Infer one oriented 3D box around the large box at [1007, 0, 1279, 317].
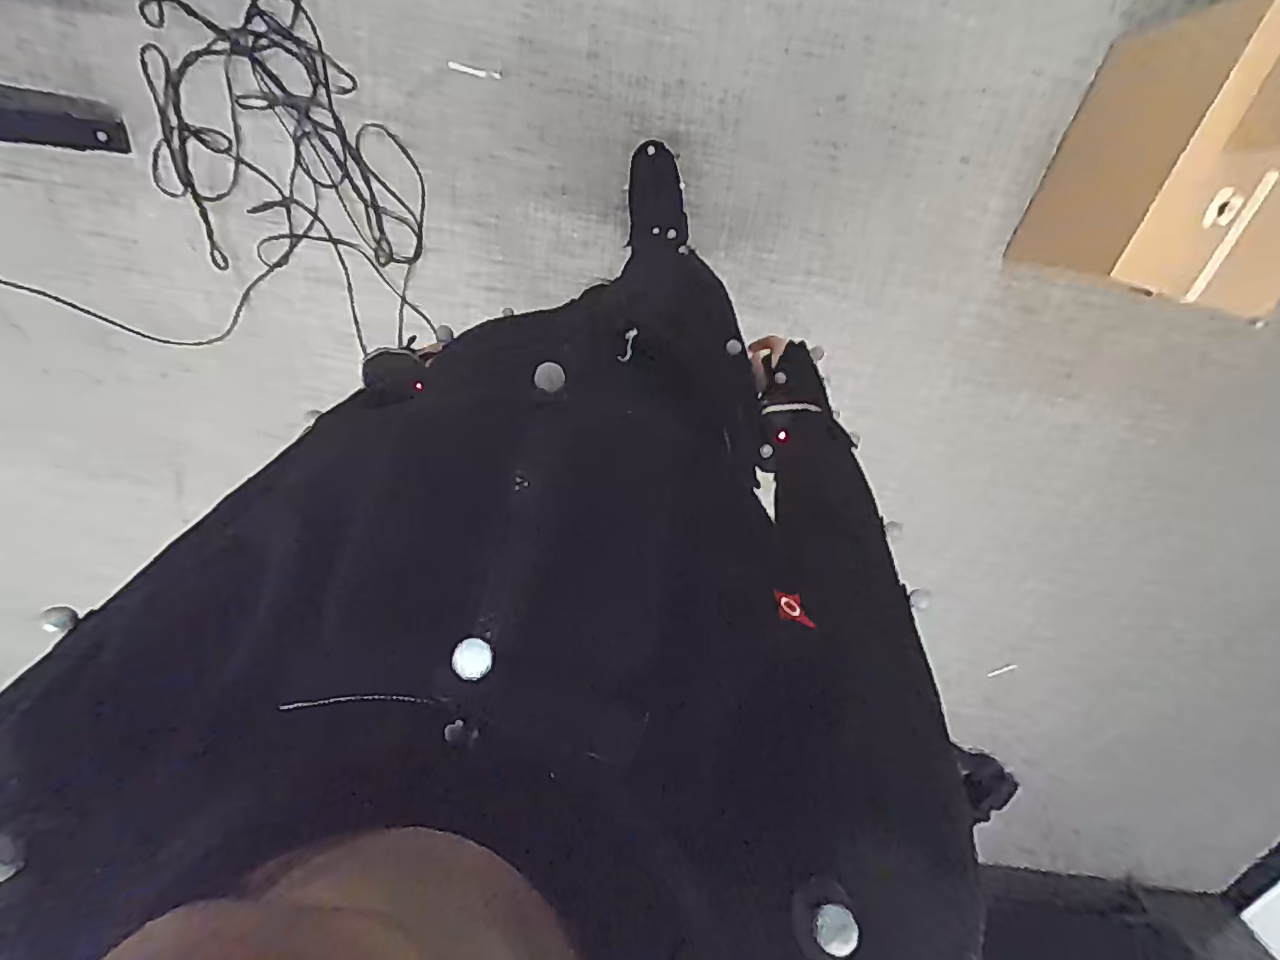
[{"bbox_3d":[0.984,-0.556,0.975,0.320,0.320,0.408,12,118,-5],"label":"large box"}]
